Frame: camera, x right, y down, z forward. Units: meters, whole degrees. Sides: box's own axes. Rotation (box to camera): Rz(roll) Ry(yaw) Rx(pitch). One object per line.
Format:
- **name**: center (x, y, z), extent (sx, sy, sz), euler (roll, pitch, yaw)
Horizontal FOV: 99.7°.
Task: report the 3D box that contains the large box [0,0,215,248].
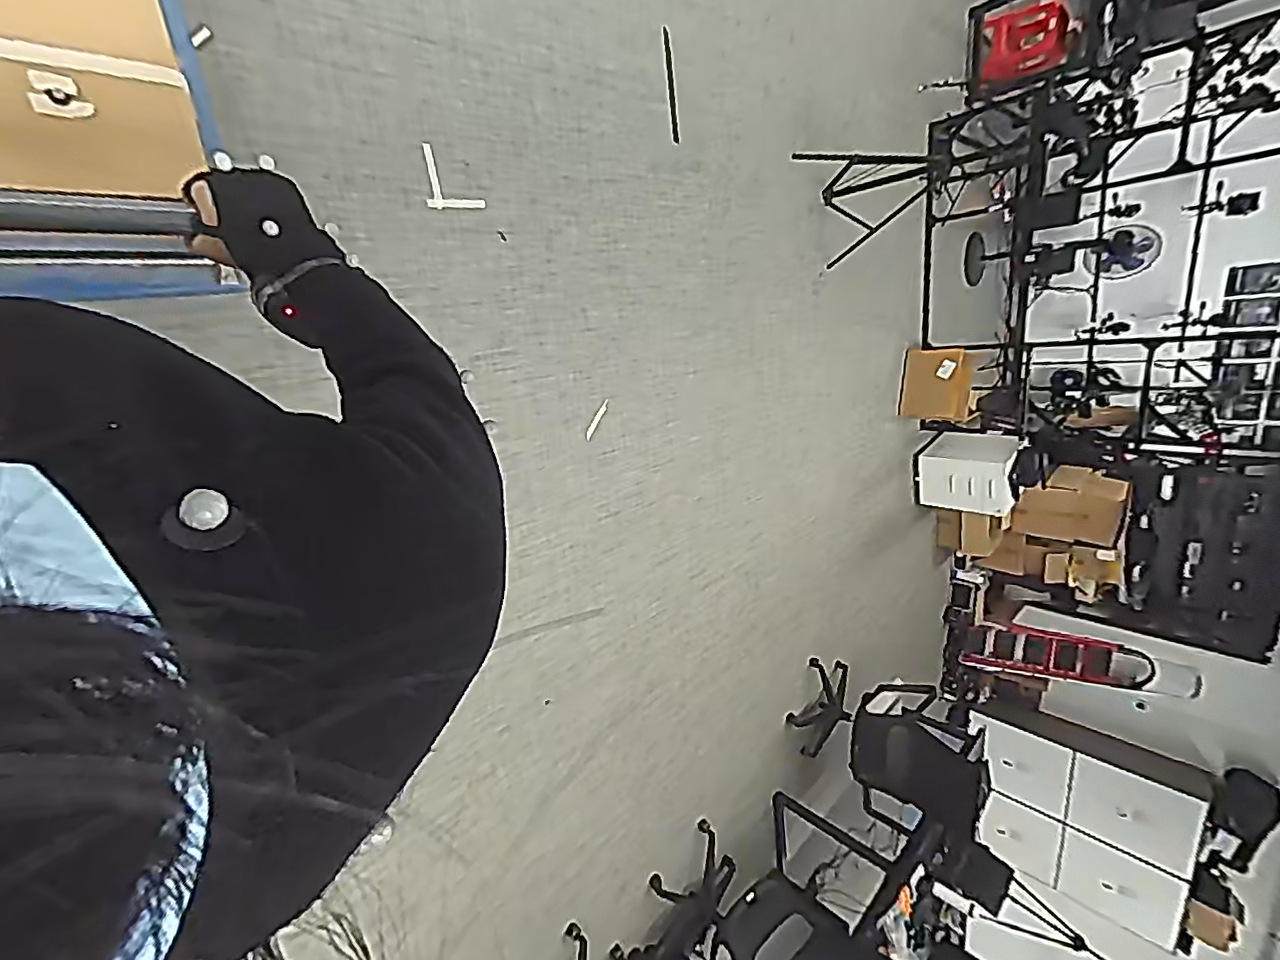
- **large box**: center (-0.883, -0.505, 0.729), extent (0.408, 0.320, 0.320), euler (-20, 111, -41)
